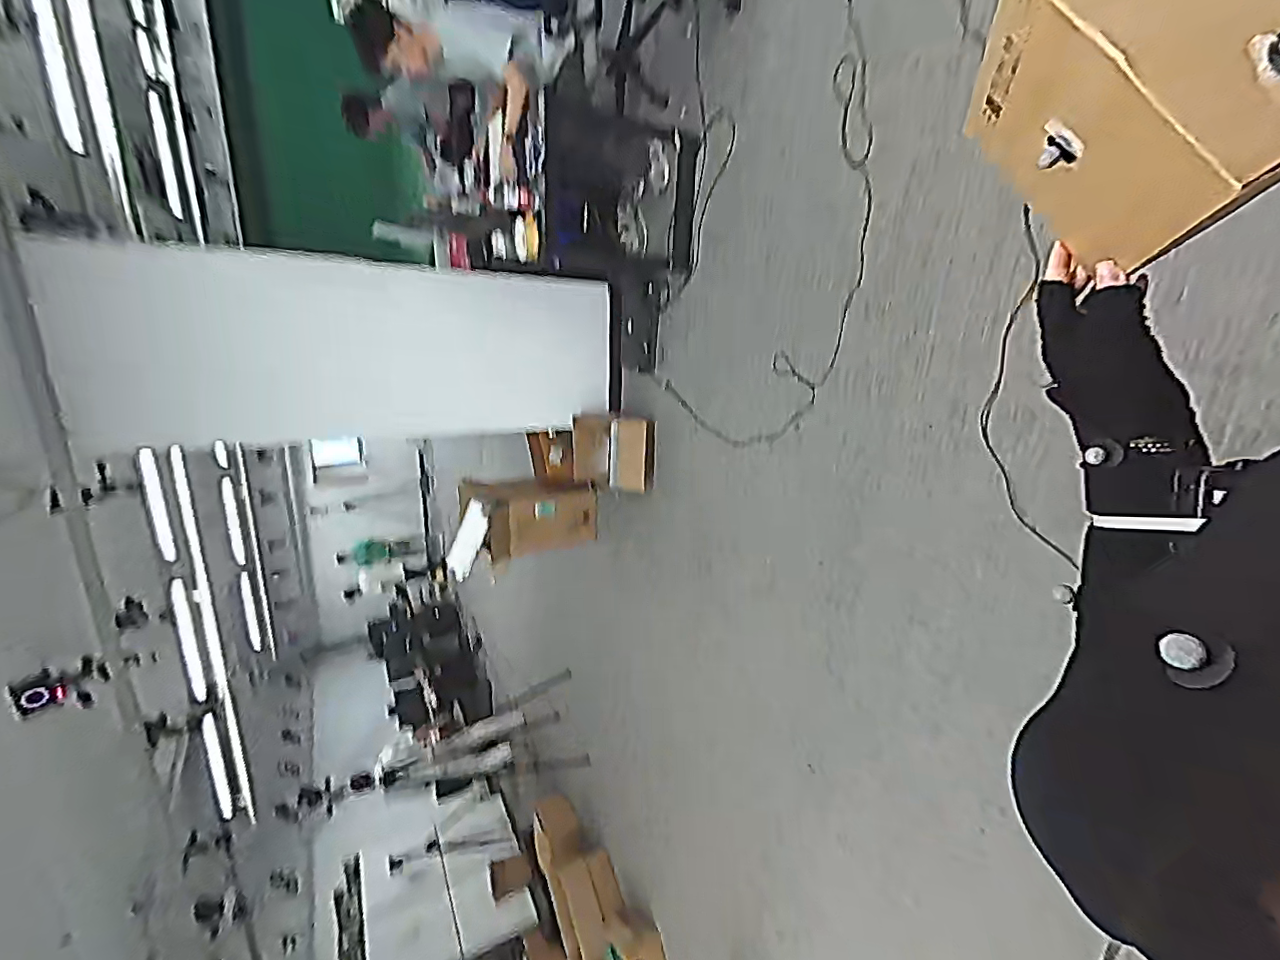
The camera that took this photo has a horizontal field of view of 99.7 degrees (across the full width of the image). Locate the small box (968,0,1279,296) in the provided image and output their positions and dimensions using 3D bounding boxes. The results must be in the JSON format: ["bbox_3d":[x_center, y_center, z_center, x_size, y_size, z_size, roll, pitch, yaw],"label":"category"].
[{"bbox_3d":[0.330,-0.247,0.313,0.179,0.168,0.176,-36,80,21],"label":"small box"}]

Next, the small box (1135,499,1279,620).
[{"bbox_3d":[1.125,0.142,1.045,0.179,0.176,0.168,32,124,54],"label":"small box"}]
